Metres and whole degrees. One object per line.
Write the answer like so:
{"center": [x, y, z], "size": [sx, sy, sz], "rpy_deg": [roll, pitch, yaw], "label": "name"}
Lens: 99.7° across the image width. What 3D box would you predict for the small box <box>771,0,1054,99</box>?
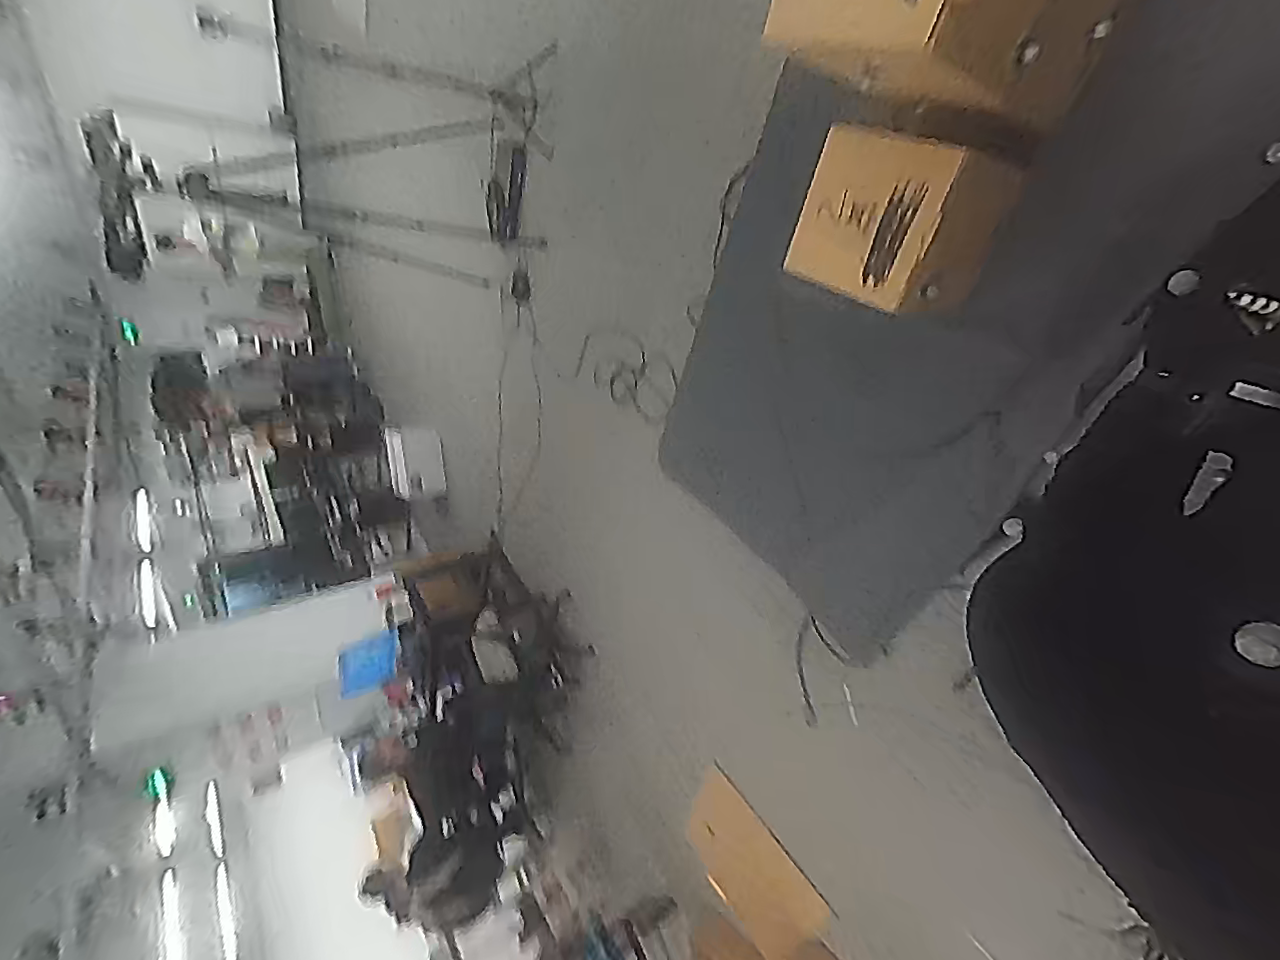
{"center": [0.254, -0.449, 0.467], "size": [0.179, 0.176, 0.168], "rpy_deg": [44, 133, 38], "label": "small box"}
